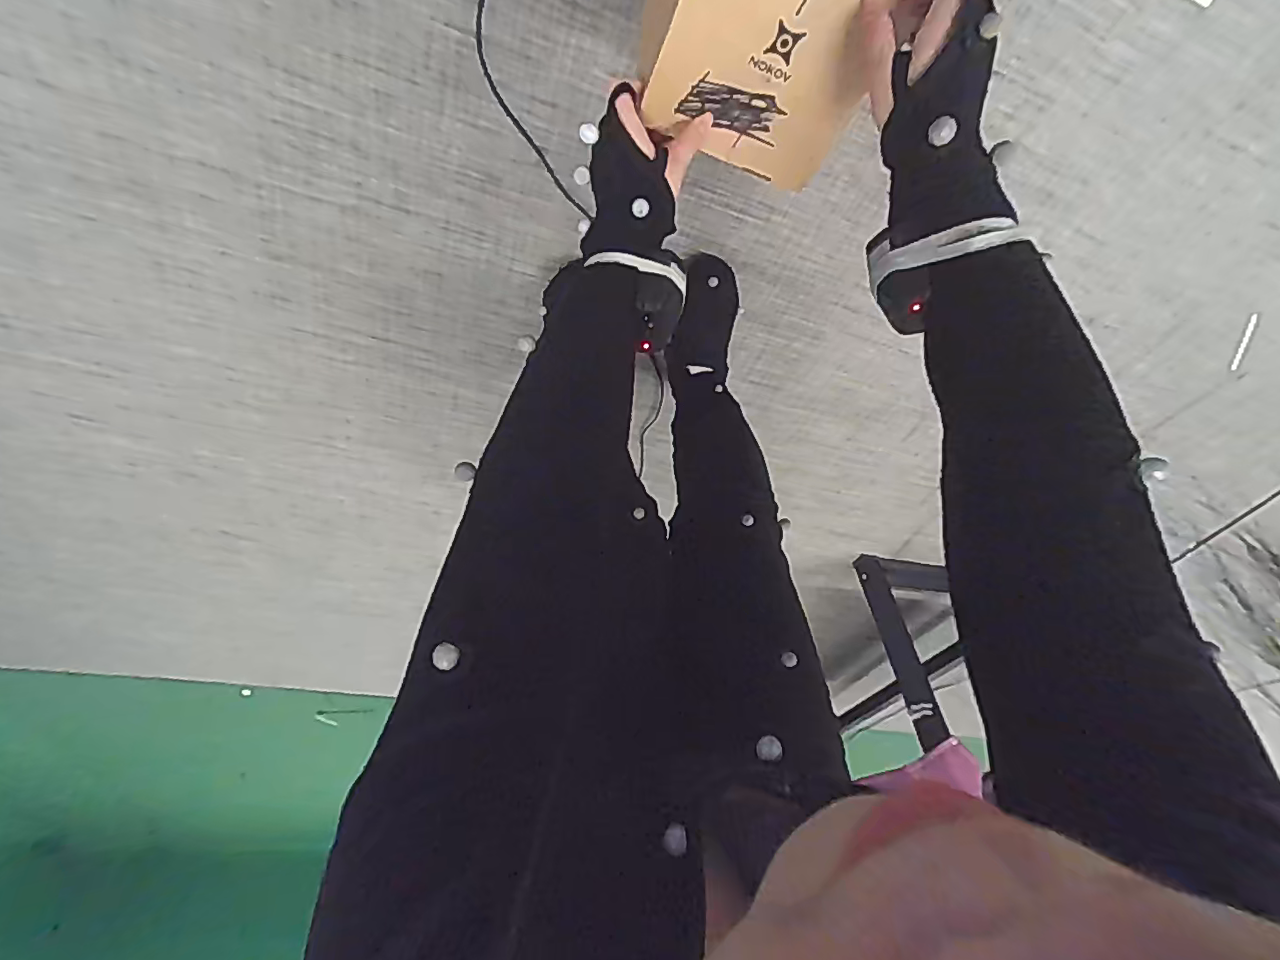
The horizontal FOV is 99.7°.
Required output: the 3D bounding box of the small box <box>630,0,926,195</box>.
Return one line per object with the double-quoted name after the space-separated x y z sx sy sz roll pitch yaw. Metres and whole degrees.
0.101 -0.390 0.450 0.168 0.176 0.179 12 150 -16 "small box"
